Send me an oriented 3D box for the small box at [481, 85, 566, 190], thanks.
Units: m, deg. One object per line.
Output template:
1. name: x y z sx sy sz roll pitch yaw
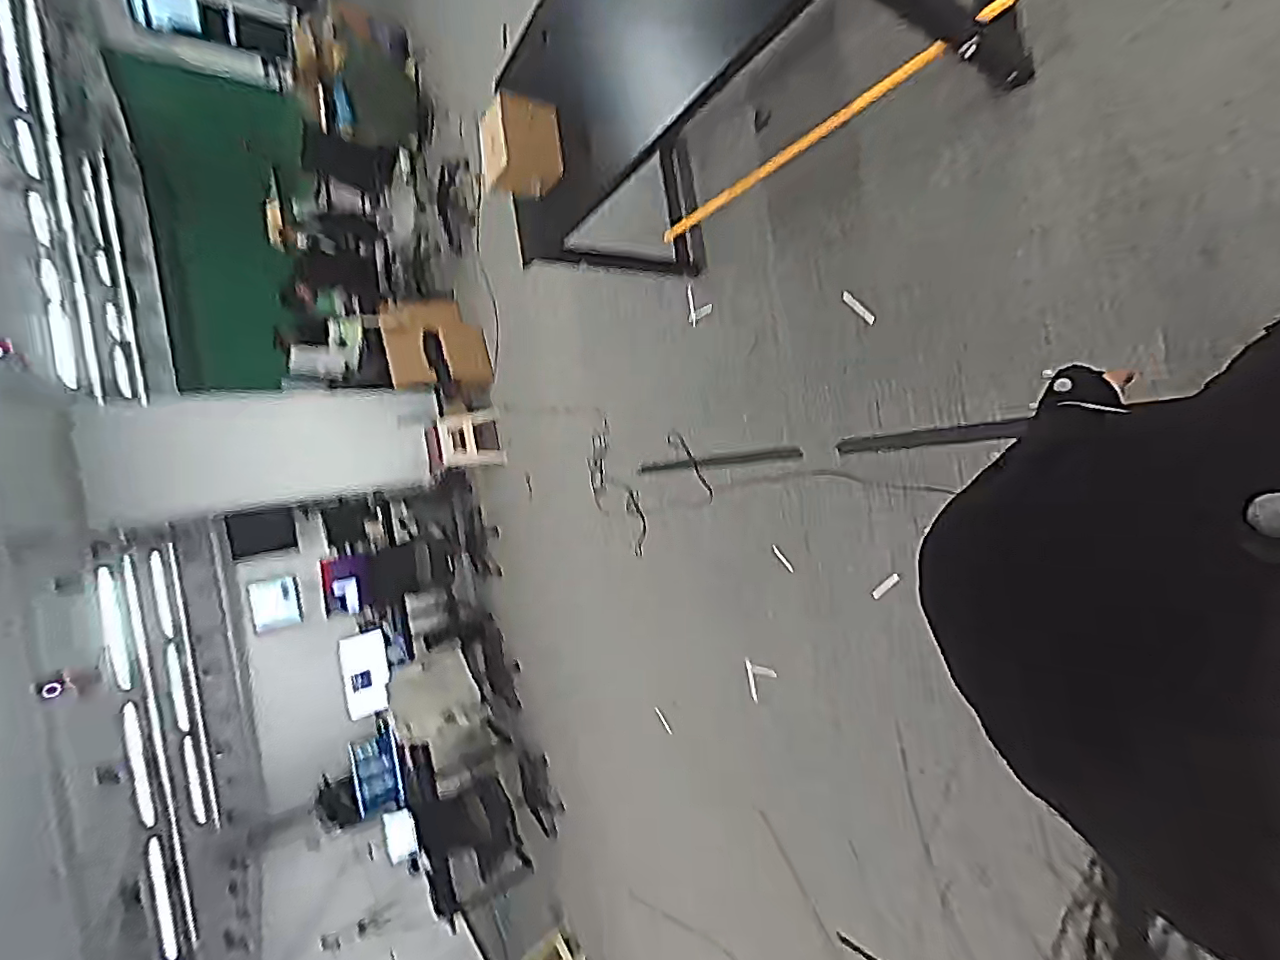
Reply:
1. small box: -0.321 -0.936 1.496 0.168 0.176 0.179 -2 97 56
